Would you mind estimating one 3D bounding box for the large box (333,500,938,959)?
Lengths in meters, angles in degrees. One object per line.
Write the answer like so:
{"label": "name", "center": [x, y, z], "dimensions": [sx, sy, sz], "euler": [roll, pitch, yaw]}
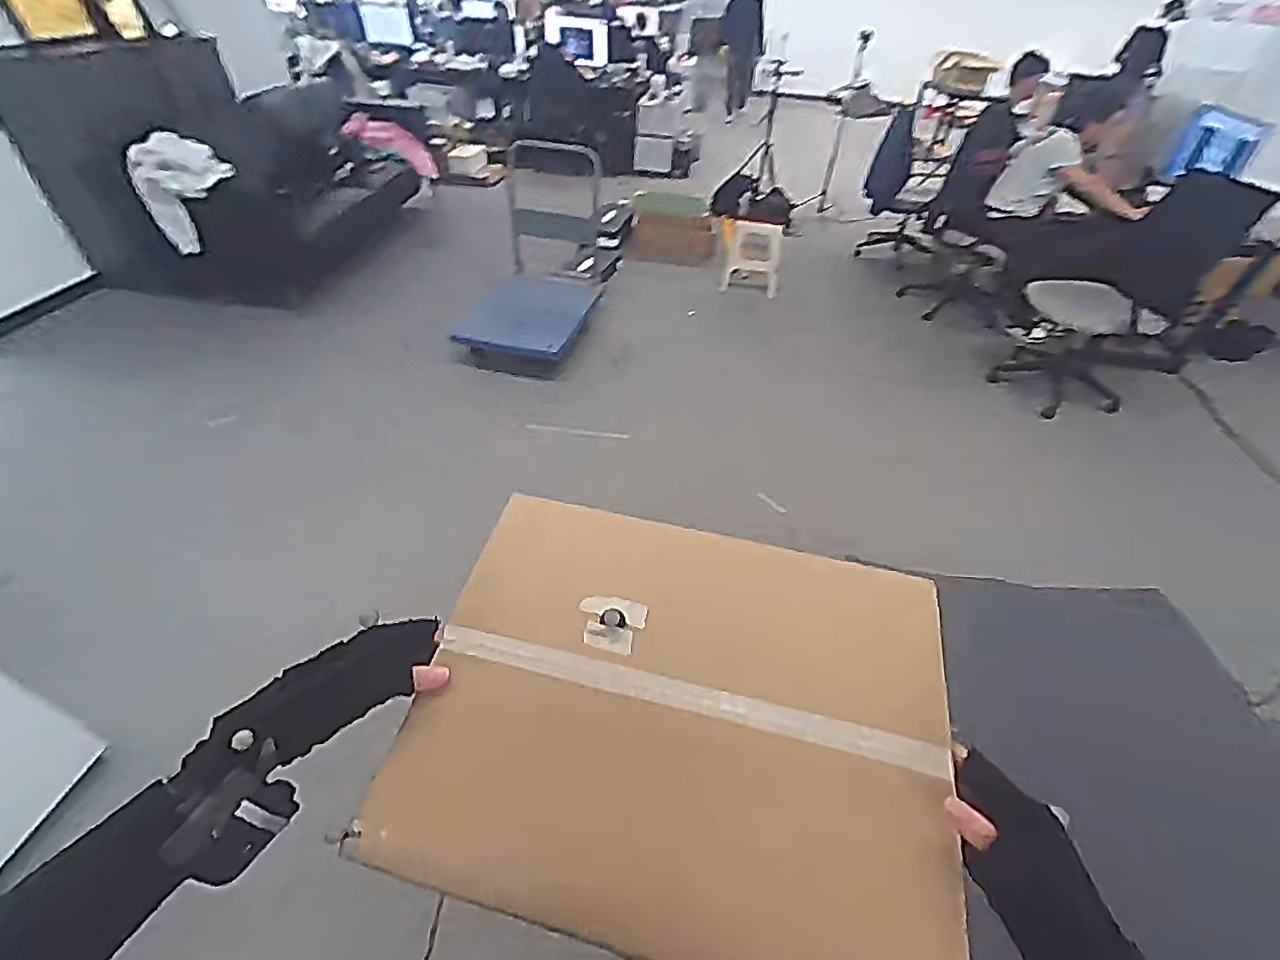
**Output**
{"label": "large box", "center": [0.021, 0.259, 0.543], "dimensions": [0.408, 0.320, 0.320], "euler": [10, 53, 10]}
